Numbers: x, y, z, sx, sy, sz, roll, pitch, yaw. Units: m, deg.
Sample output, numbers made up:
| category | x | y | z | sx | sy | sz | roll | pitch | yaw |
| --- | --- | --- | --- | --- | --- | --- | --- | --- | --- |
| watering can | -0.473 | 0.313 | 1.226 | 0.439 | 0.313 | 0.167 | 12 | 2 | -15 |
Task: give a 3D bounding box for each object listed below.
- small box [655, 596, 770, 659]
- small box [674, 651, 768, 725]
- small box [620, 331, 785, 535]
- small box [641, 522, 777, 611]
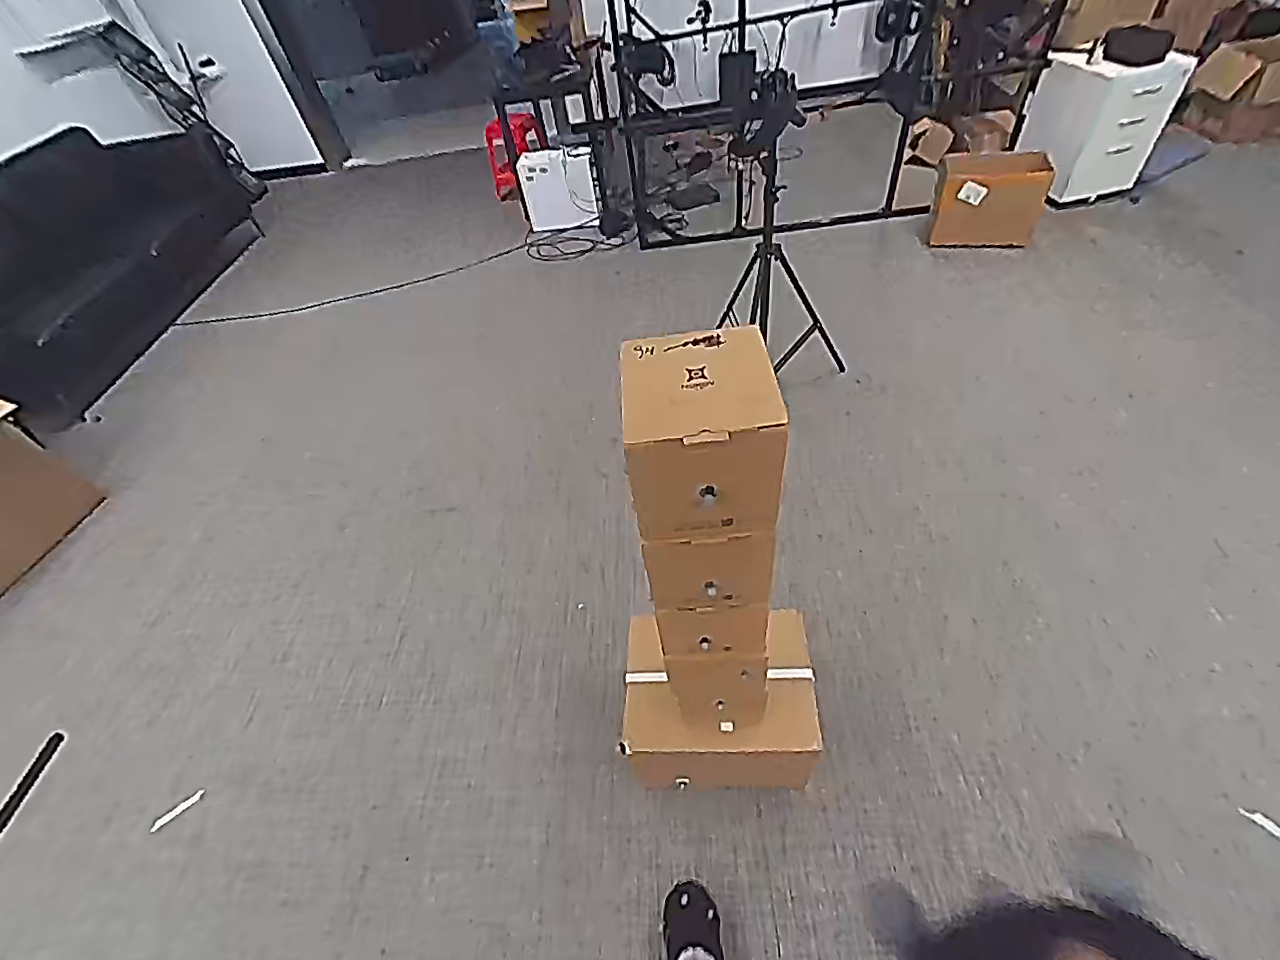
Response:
| category | x | y | z | sx | sy | sz | roll | pitch | yaw |
| --- | --- | --- | --- | --- | --- | --- | --- | --- | --- |
| small box | 0.112 | 0.173 | 0.881 | 0.168 | 0.176 | 0.179 | -5 | 49 | 5 |
| small box | 0.163 | 0.395 | 1.116 | 0.179 | 0.176 | 0.168 | -5 | 49 | 5 |
| small box | 0.070 | -0.048 | 0.641 | 0.168 | 0.176 | 0.179 | -6 | 50 | 4 |
| small box | 0.091 | 0.063 | 0.760 | 0.168 | 0.176 | 0.179 | -6 | 49 | 5 |
